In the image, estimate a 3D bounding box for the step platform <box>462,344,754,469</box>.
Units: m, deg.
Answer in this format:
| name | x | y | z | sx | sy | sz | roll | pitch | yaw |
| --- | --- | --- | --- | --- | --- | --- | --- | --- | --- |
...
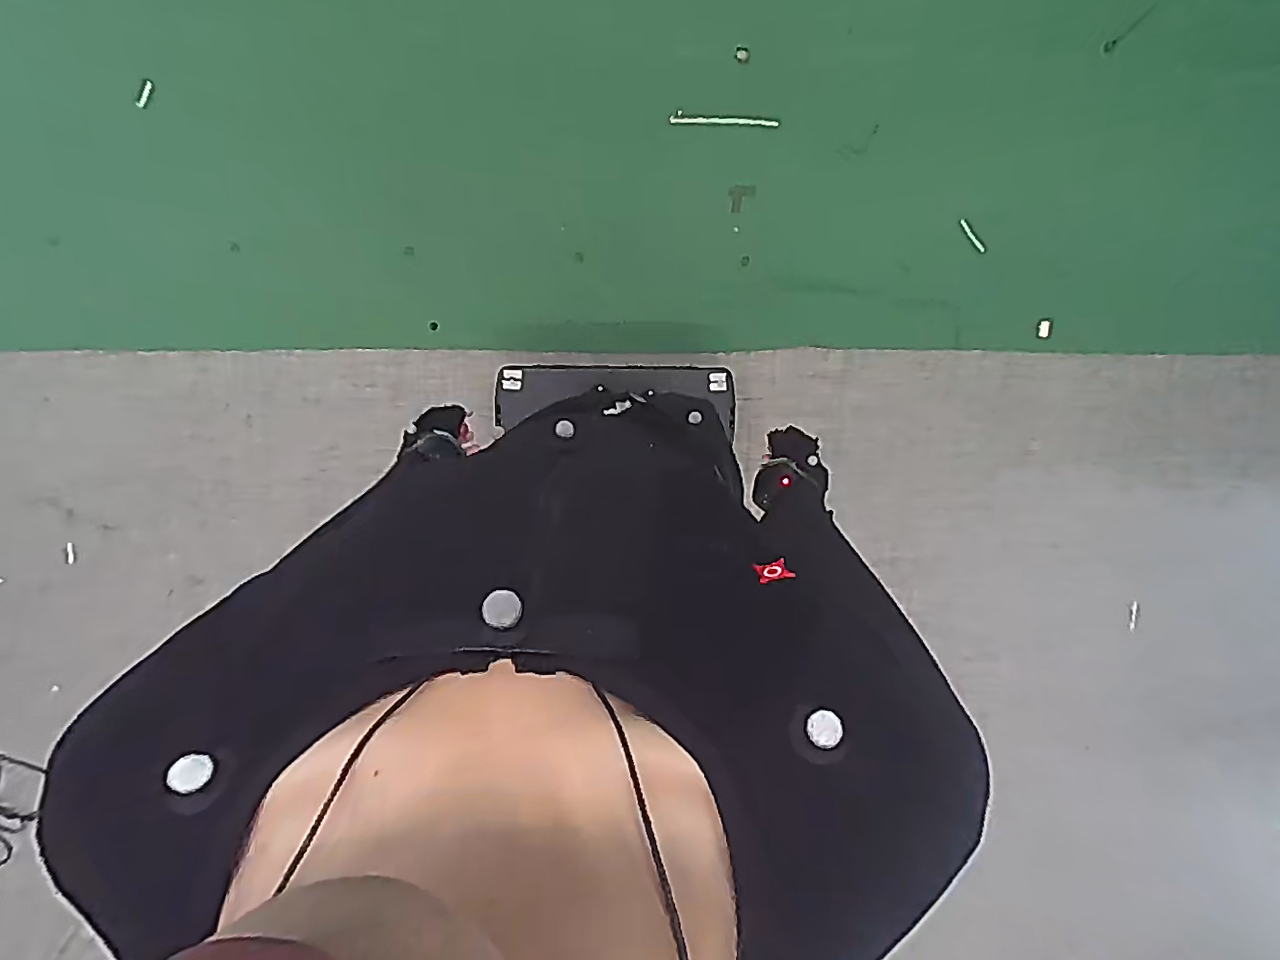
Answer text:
| name | x | y | z | sx | sy | sz | roll | pitch | yaw |
| --- | --- | --- | --- | --- | --- | --- | --- | --- | --- |
| step platform | -0.075 | -0.185 | 1.356 | 0.684 | 0.204 | 0.286 | -1 | 99 | -2 |
